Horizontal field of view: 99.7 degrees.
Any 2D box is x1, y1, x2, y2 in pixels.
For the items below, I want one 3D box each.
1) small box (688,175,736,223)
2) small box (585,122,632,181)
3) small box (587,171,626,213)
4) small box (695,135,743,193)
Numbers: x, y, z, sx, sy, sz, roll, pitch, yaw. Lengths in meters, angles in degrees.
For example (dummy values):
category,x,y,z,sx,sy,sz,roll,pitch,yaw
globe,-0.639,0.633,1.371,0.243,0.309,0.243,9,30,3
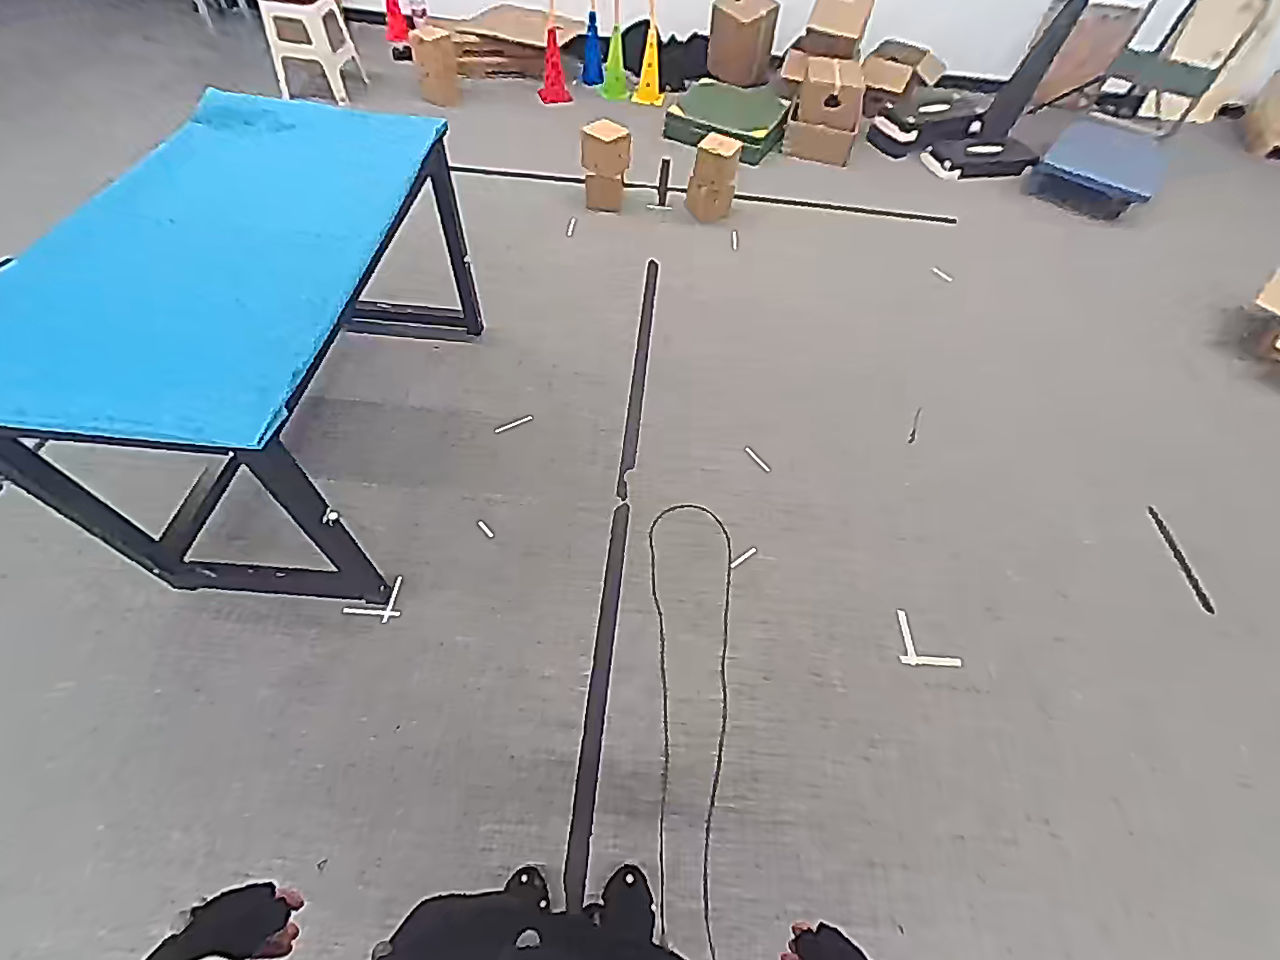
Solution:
category,x,y,z,sx,sy,sz,roll,pitch,yaw
small box,0.357,-1.430,2.735,0.179,0.176,0.168,-20,61,-17
small box,-0.154,-1.573,2.582,0.179,0.176,0.168,37,60,20
small box,-0.167,-1.467,2.712,0.179,0.176,0.168,7,54,1
small box,0.374,-1.513,2.595,0.168,0.176,0.179,27,57,11
